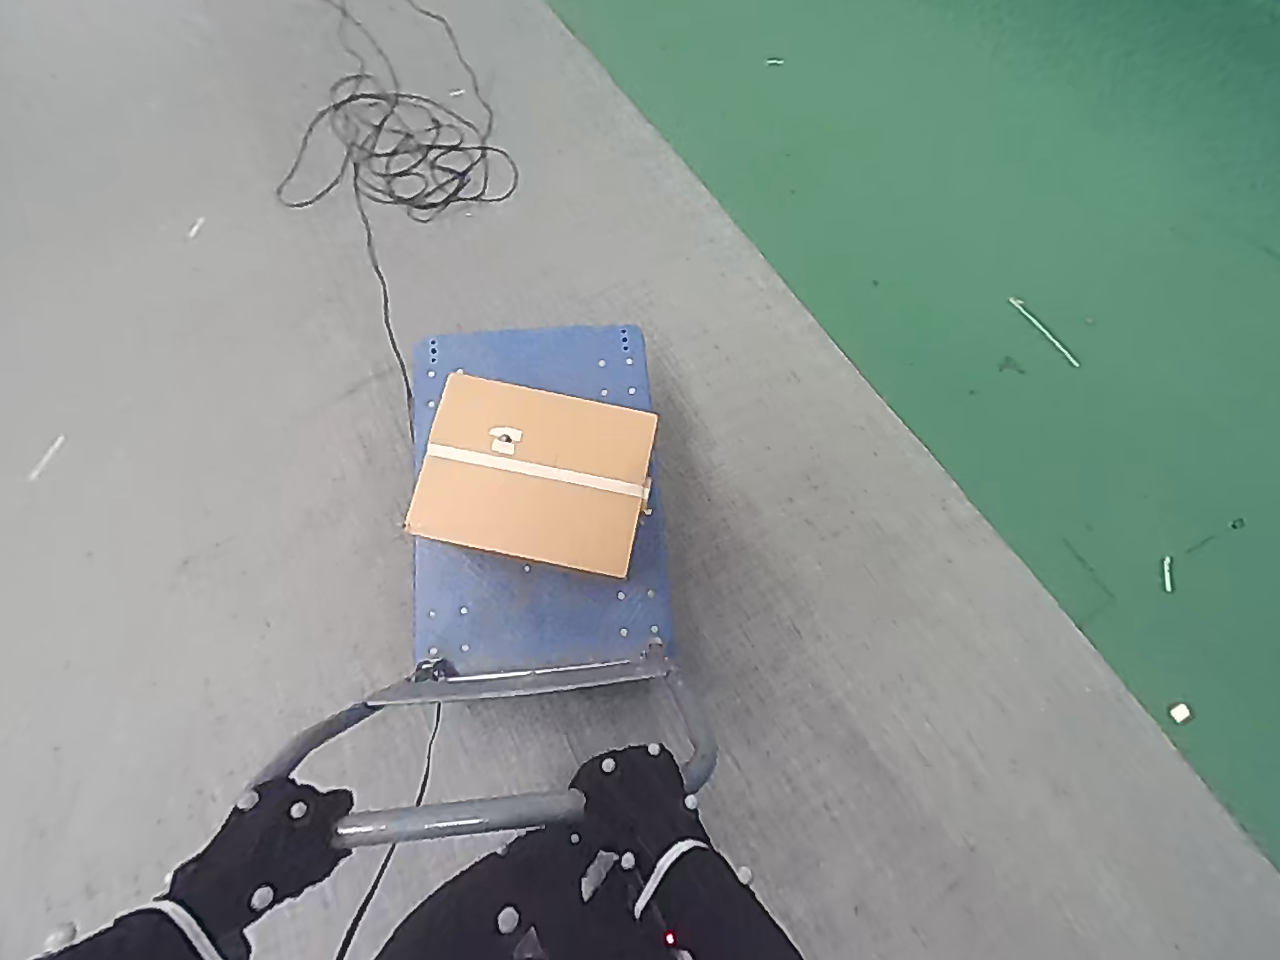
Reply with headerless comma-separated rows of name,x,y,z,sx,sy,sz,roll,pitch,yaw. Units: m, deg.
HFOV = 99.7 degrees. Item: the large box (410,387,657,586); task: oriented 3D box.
large box,-0.189,0.035,1.129,0.408,0.320,0.320,11,77,2
